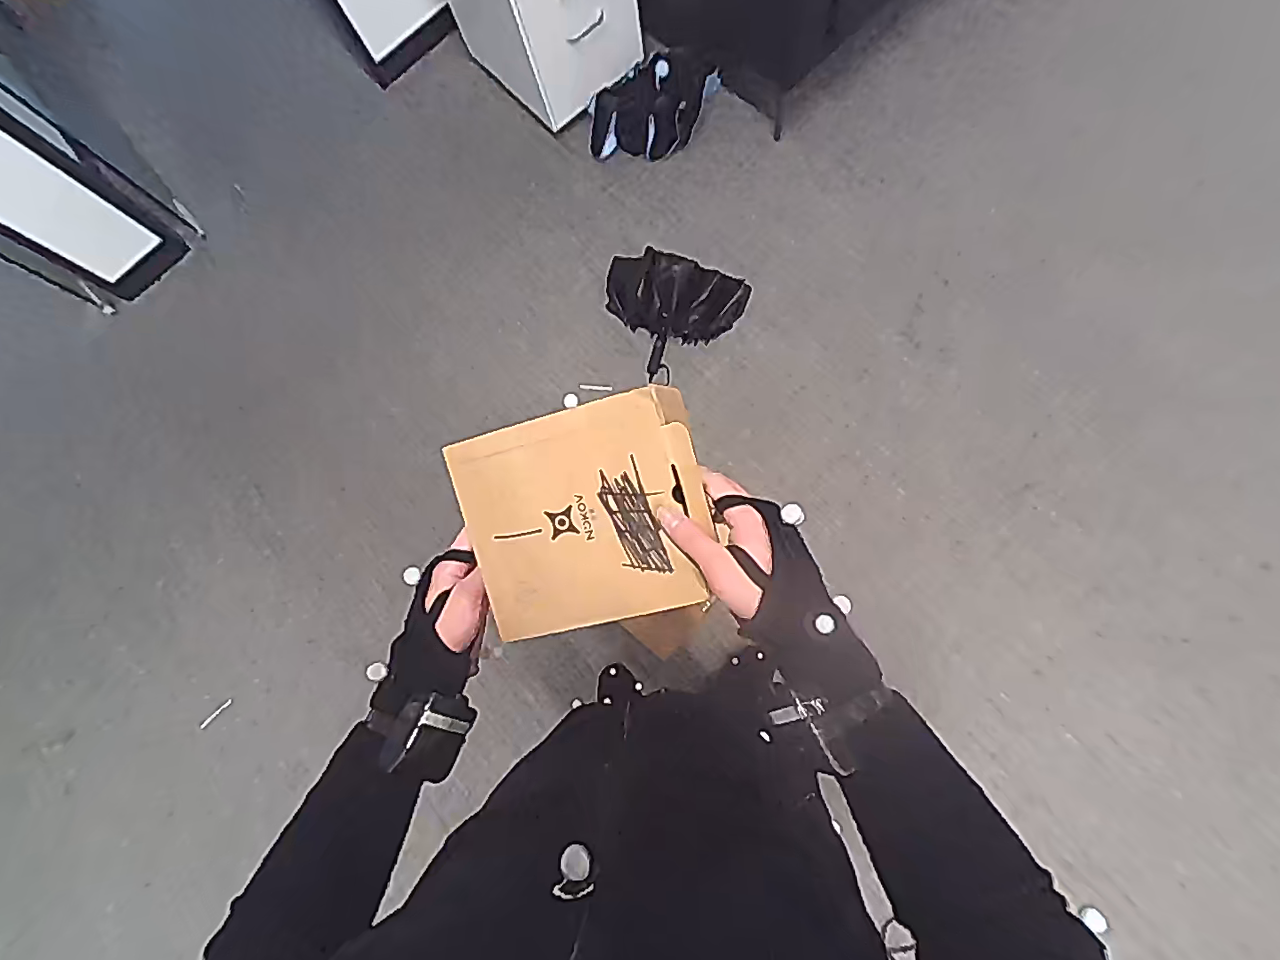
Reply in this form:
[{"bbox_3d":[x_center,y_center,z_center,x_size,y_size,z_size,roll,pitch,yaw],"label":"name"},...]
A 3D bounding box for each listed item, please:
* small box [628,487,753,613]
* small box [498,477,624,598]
[{"bbox_3d":[0.104,0.145,1.061,0.168,0.176,0.179,36,82,16],"label":"small box"},{"bbox_3d":[-0.150,0.123,1.109,0.168,0.176,0.179,39,88,17],"label":"small box"}]
